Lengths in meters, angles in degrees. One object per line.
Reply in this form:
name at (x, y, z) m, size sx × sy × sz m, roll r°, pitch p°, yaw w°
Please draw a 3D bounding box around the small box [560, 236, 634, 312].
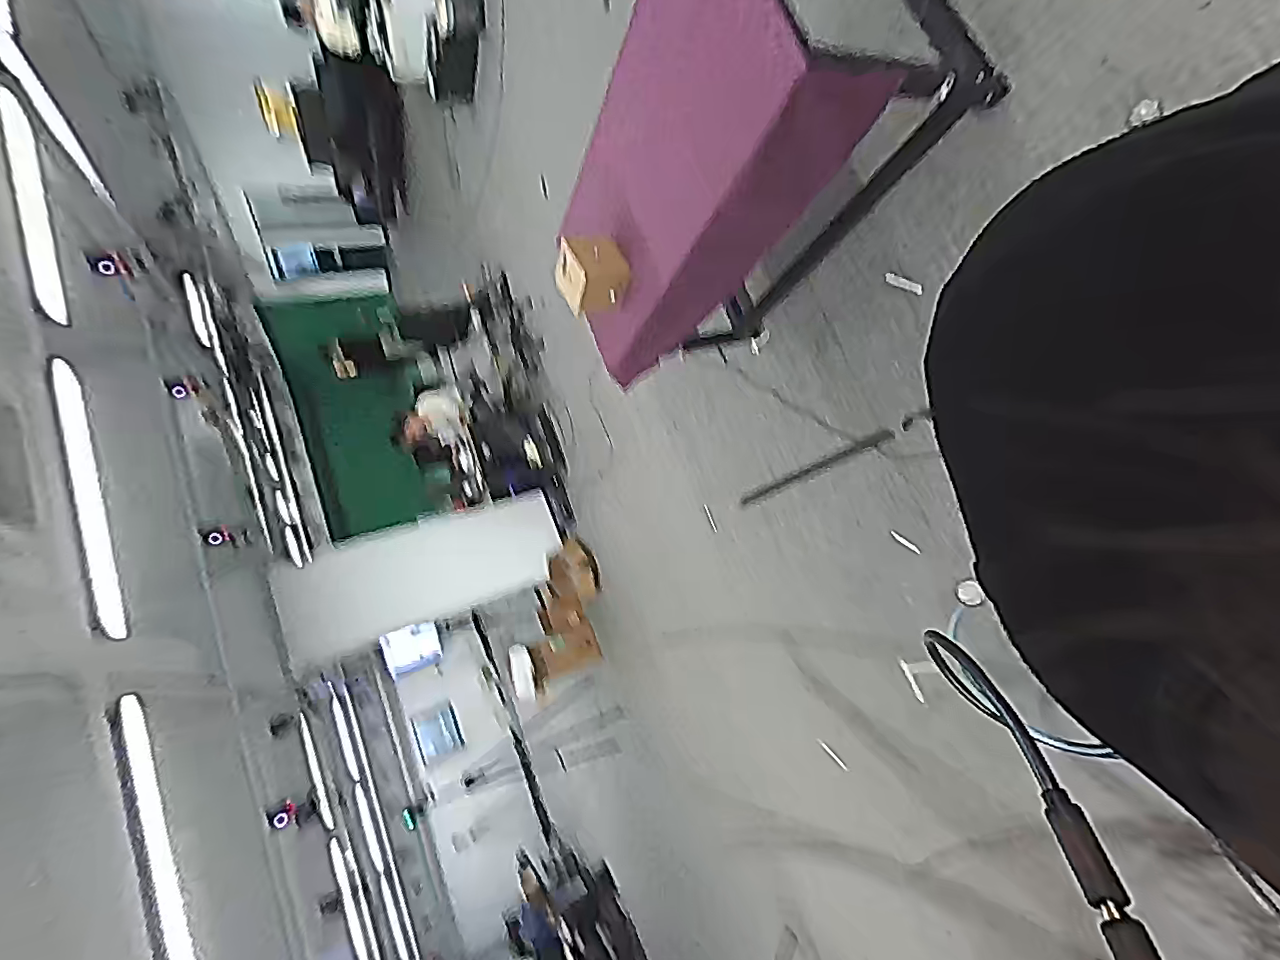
small box at (-0.144, -0.686, 1.792) m, size 0.179 × 0.176 × 0.168 m, roll 62°, pitch 152°, yaw 21°
